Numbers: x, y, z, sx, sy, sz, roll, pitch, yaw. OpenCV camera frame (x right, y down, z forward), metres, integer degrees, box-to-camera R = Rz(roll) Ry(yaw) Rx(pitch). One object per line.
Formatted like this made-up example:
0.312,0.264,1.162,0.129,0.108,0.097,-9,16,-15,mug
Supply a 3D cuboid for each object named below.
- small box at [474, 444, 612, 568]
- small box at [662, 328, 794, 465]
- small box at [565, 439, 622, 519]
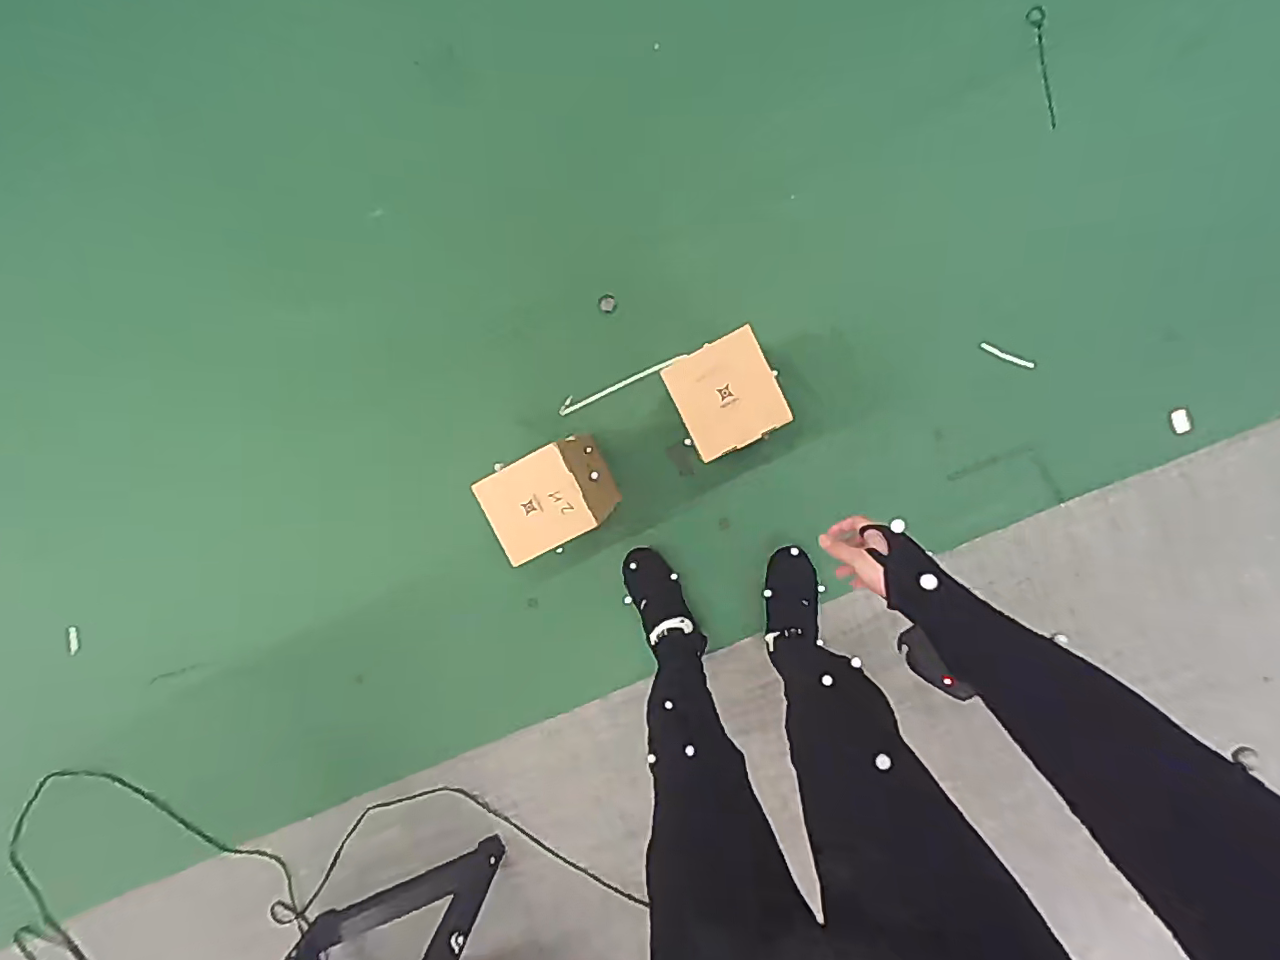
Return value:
-0.172,0.042,1.017,0.179,0.176,0.168,-27,92,8,small box
0.152,-0.145,0.966,0.168,0.176,0.179,-26,93,7,small box
-0.154,0.021,1.180,0.168,0.176,0.179,-27,91,8,small box
